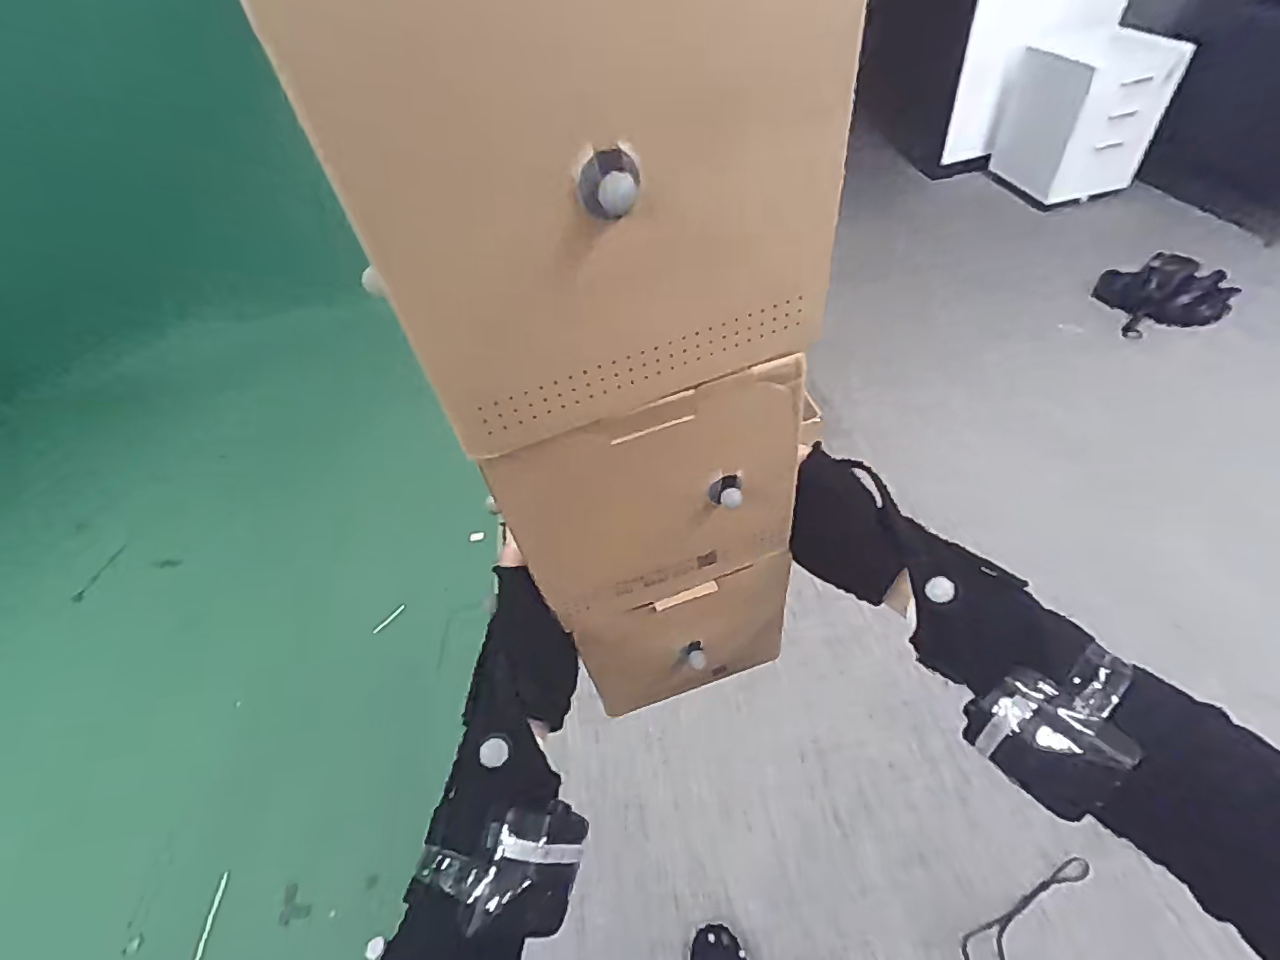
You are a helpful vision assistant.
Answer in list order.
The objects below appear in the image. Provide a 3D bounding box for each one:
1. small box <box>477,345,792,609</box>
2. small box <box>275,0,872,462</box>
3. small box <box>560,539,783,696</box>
[{"bbox_3d":[-0.012,-0.033,0.374,0.168,0.176,0.179,-18,46,-7],"label":"small box"},{"bbox_3d":[-0.030,-0.139,0.249,0.179,0.176,0.168,-22,48,-13],"label":"small box"},{"bbox_3d":[0.015,0.074,0.493,0.168,0.176,0.179,-18,48,-6],"label":"small box"}]
